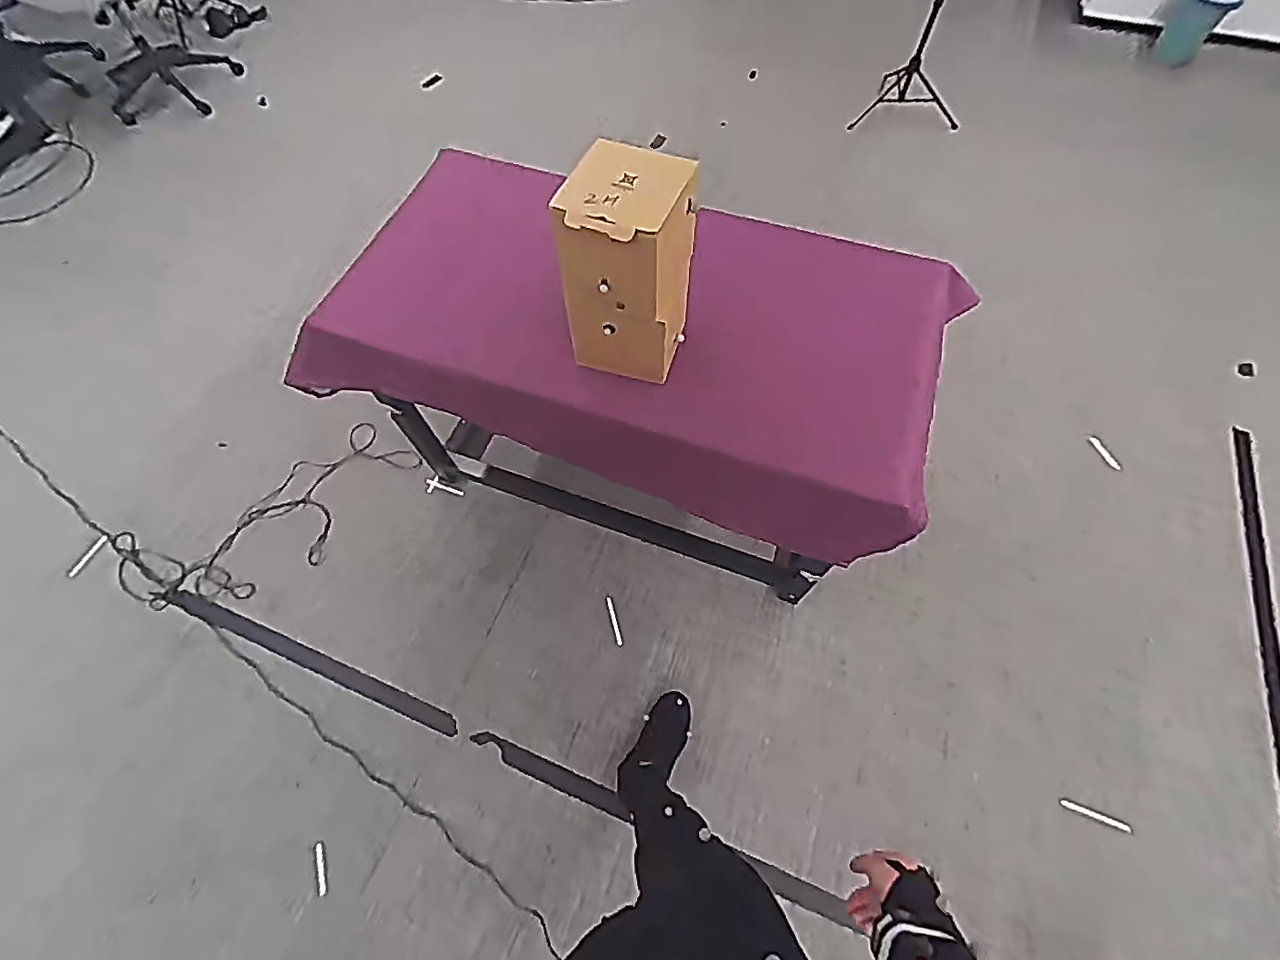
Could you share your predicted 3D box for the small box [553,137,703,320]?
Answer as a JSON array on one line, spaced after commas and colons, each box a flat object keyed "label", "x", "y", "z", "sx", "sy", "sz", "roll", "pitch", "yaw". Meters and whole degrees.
[{"label": "small box", "x": -0.015, "y": -0.384, "z": 0.838, "sx": 0.168, "sy": 0.176, "sz": 0.179, "roll": 20, "pitch": 65, "yaw": 11}]

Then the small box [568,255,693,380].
[{"label": "small box", "x": -0.013, "y": -0.306, "z": 0.983, "sx": 0.179, "sy": 0.176, "sz": 0.168, "roll": 15, "pitch": 65, "yaw": 8}]
